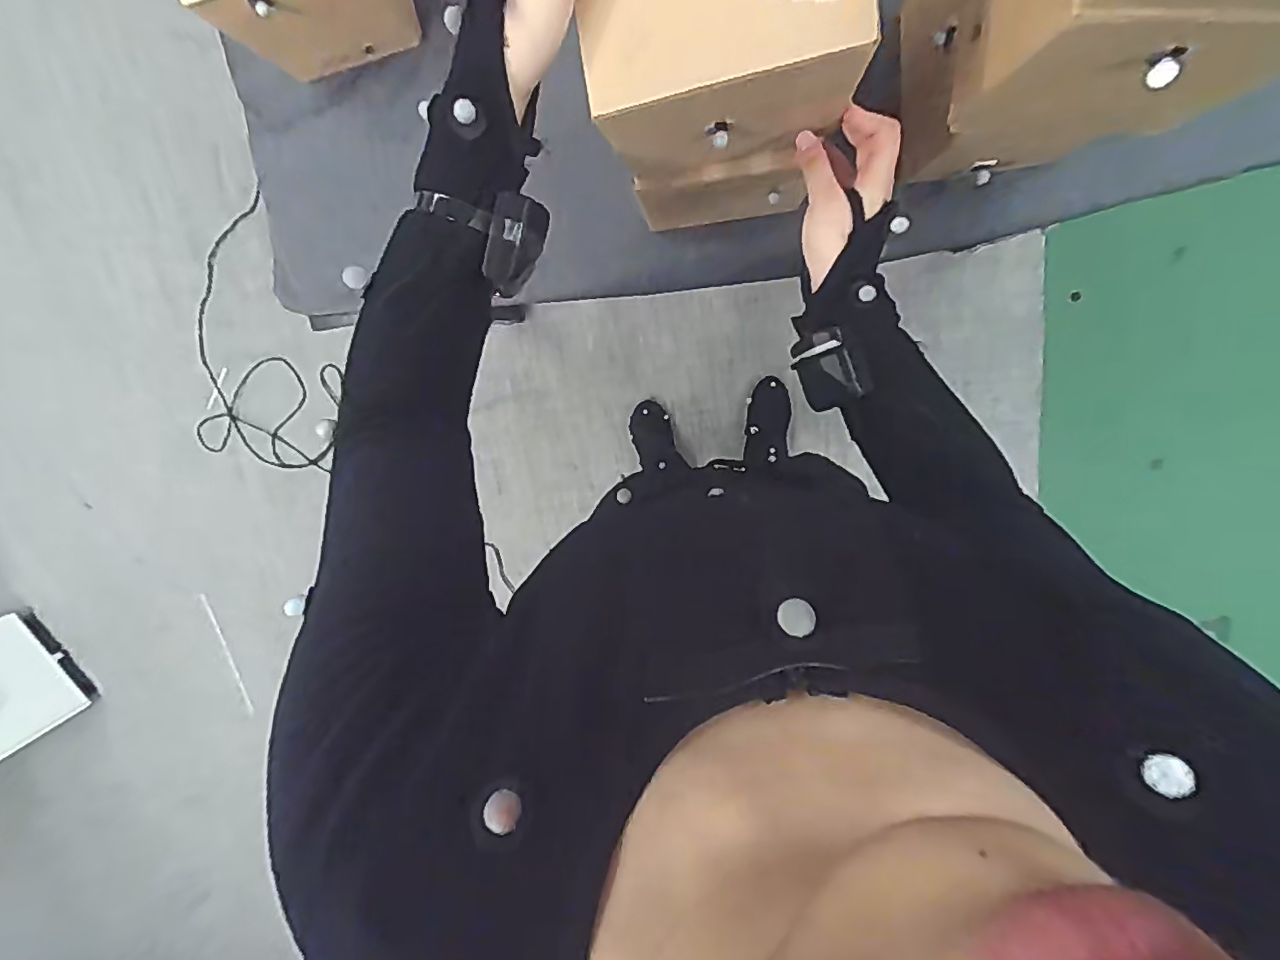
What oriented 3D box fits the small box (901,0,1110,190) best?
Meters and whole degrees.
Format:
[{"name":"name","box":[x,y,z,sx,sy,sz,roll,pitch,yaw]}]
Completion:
[{"name":"small box","box":[0.362,-0.403,0.516,0.168,0.176,0.179,-5,104,8]}]

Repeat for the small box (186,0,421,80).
[{"name":"small box","box":[-0.357,-0.559,0.552,0.168,0.176,0.179,-10,104,8]}]

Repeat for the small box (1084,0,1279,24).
[{"name":"small box","box":[0.329,-0.313,0.202,0.179,0.176,0.168,7,104,6]}]

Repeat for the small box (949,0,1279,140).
[{"name":"small box","box":[0.346,-0.350,0.363,0.179,0.176,0.168,5,104,7]}]

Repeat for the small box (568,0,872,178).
[{"name":"small box","box":[0.053,-0.338,0.385,0.179,0.176,0.168,-6,104,14]}]
